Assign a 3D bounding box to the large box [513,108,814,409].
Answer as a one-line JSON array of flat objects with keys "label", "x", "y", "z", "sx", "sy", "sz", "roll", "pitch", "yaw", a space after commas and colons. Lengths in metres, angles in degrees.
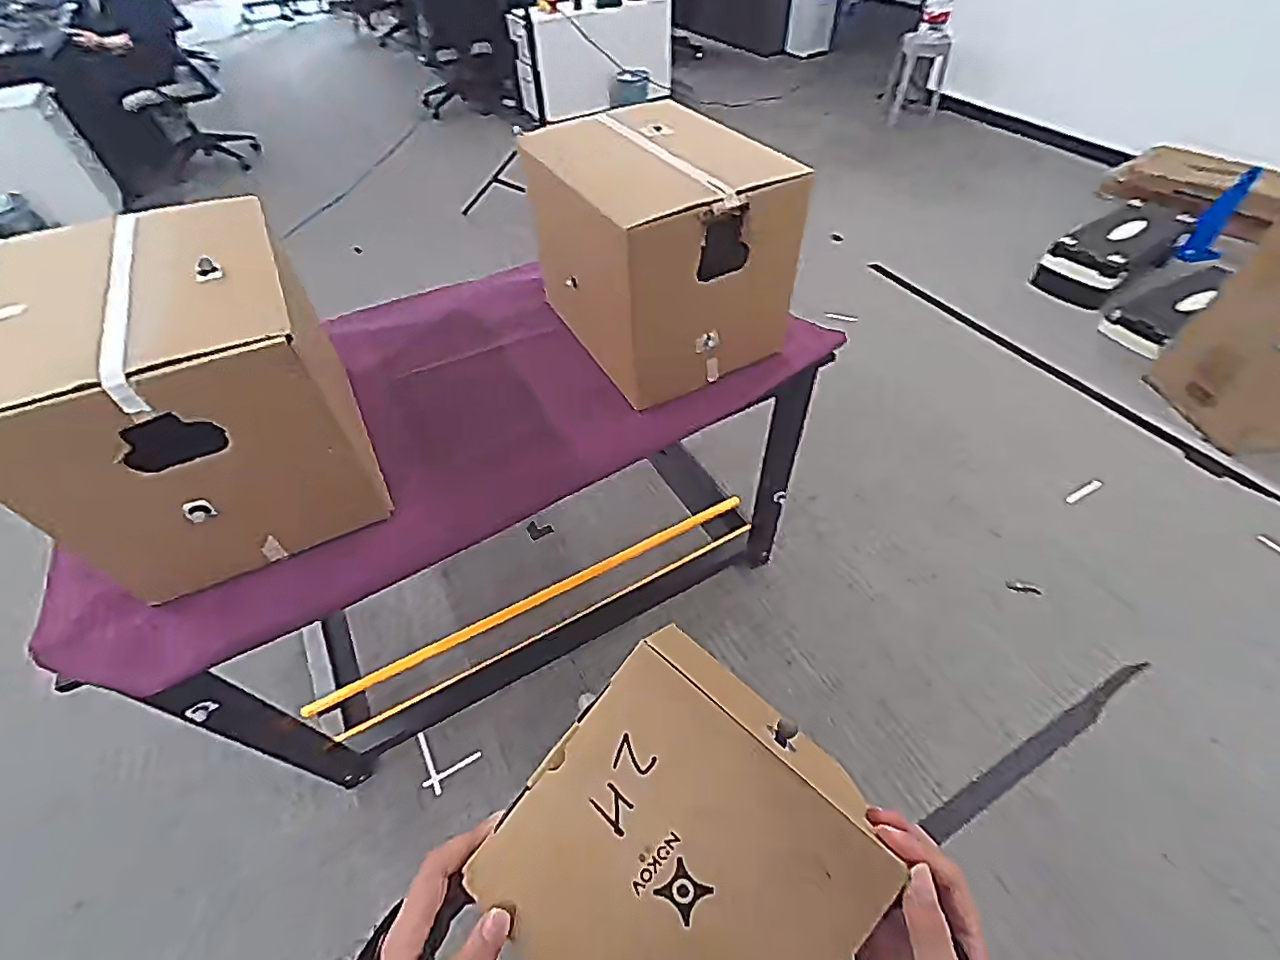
[{"label": "large box", "x": 0.027, "y": -0.392, "z": 0.940, "sx": 0.320, "sy": 0.320, "sz": 0.408, "roll": -25, "pitch": 52, "yaw": -18}]
